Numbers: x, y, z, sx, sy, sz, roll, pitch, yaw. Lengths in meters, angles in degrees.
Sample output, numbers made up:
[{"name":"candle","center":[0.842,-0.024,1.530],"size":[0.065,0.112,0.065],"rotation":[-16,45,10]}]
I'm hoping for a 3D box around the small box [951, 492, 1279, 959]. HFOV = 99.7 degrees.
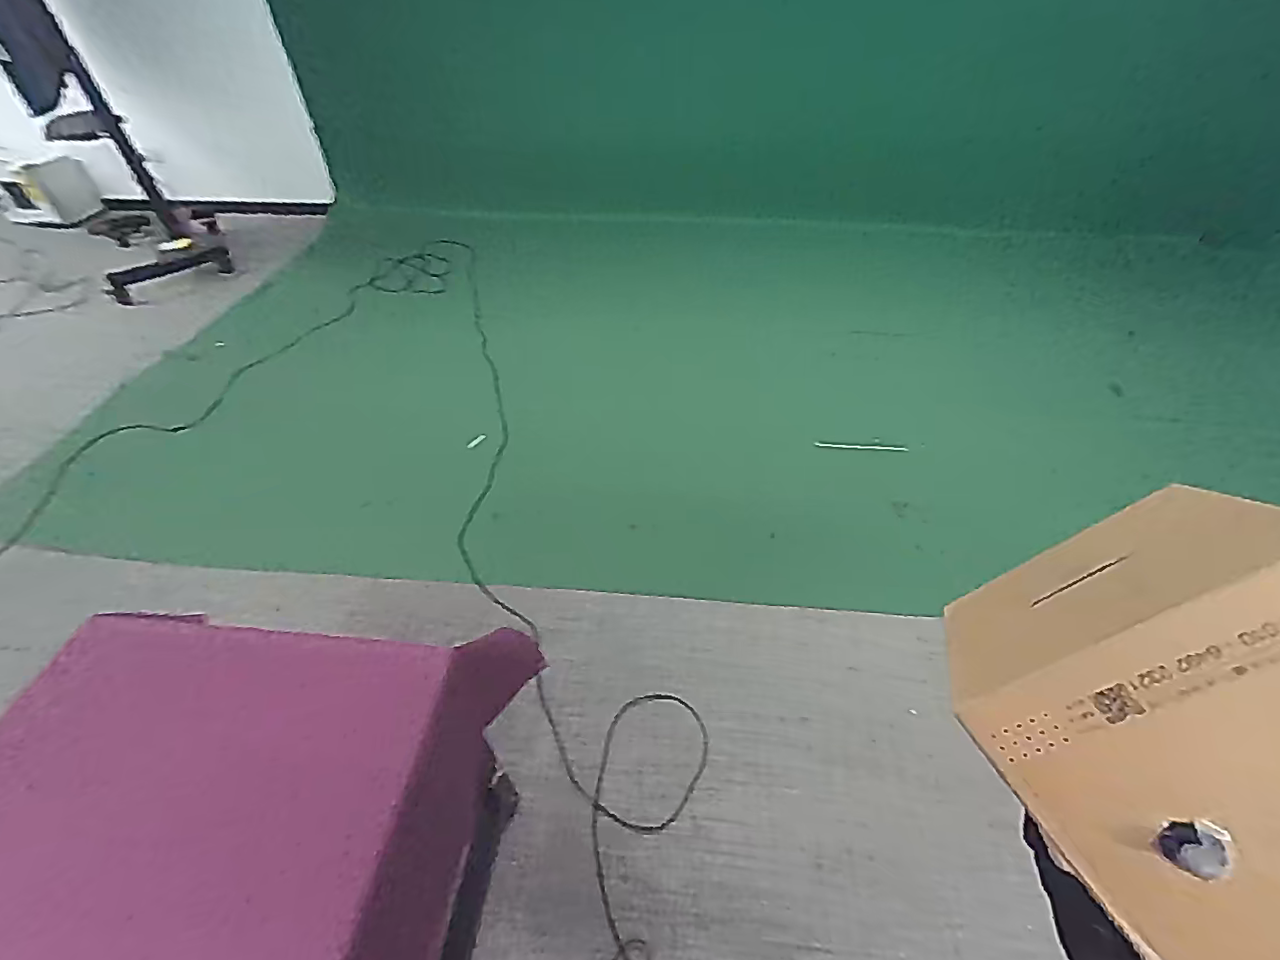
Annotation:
[{"name":"small box","center":[0.300,0.124,0.294],"size":[0.176,0.168,0.179],"rotation":[55,26,13]}]
